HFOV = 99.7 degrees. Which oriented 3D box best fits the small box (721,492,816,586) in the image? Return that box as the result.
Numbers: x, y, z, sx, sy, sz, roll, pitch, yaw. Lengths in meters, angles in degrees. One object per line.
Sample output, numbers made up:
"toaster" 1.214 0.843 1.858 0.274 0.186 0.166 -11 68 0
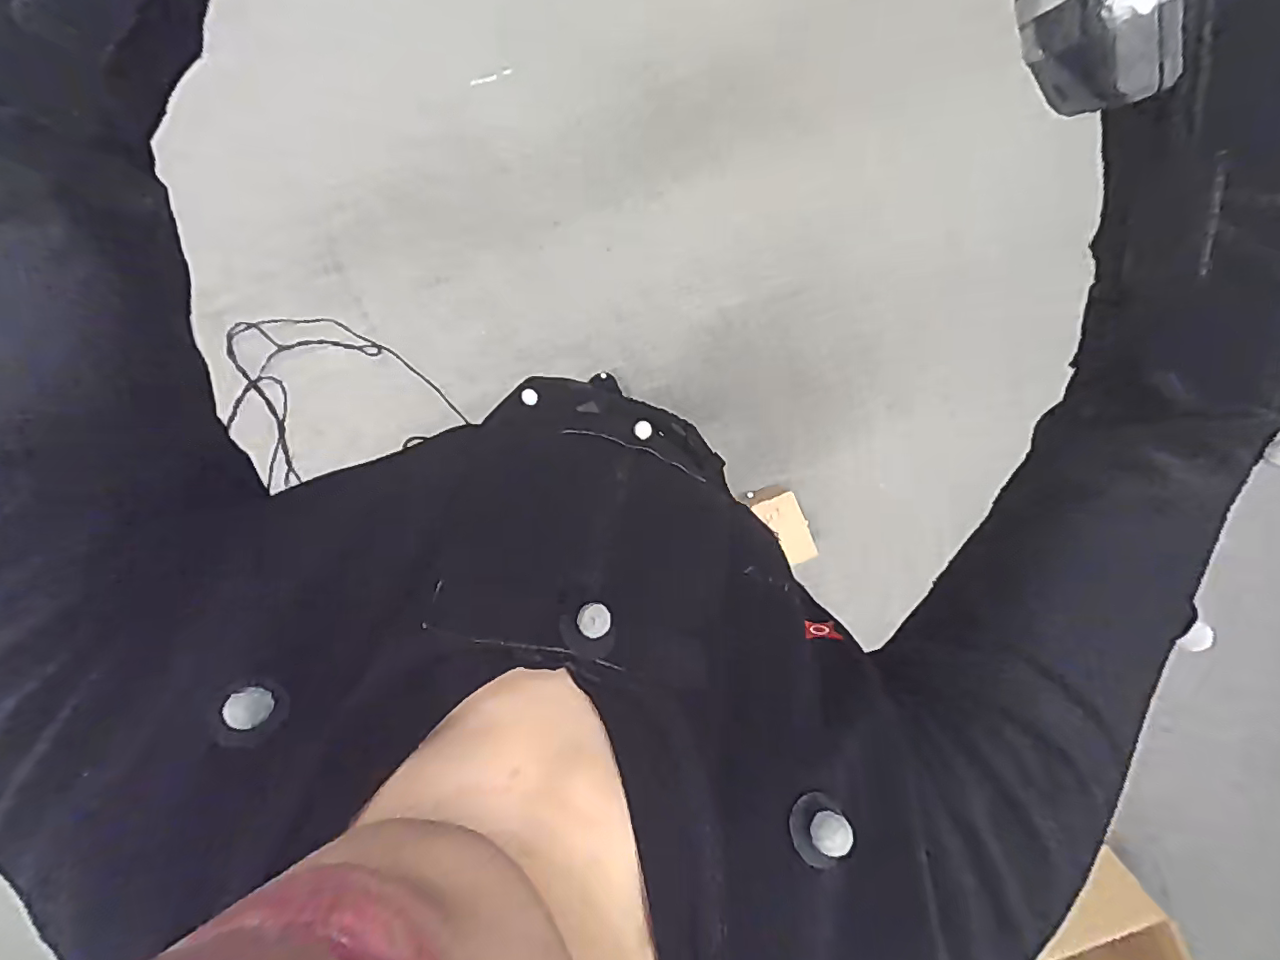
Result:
"small box" 0.322 0.143 1.379 0.168 0.176 0.179 -22 93 1
